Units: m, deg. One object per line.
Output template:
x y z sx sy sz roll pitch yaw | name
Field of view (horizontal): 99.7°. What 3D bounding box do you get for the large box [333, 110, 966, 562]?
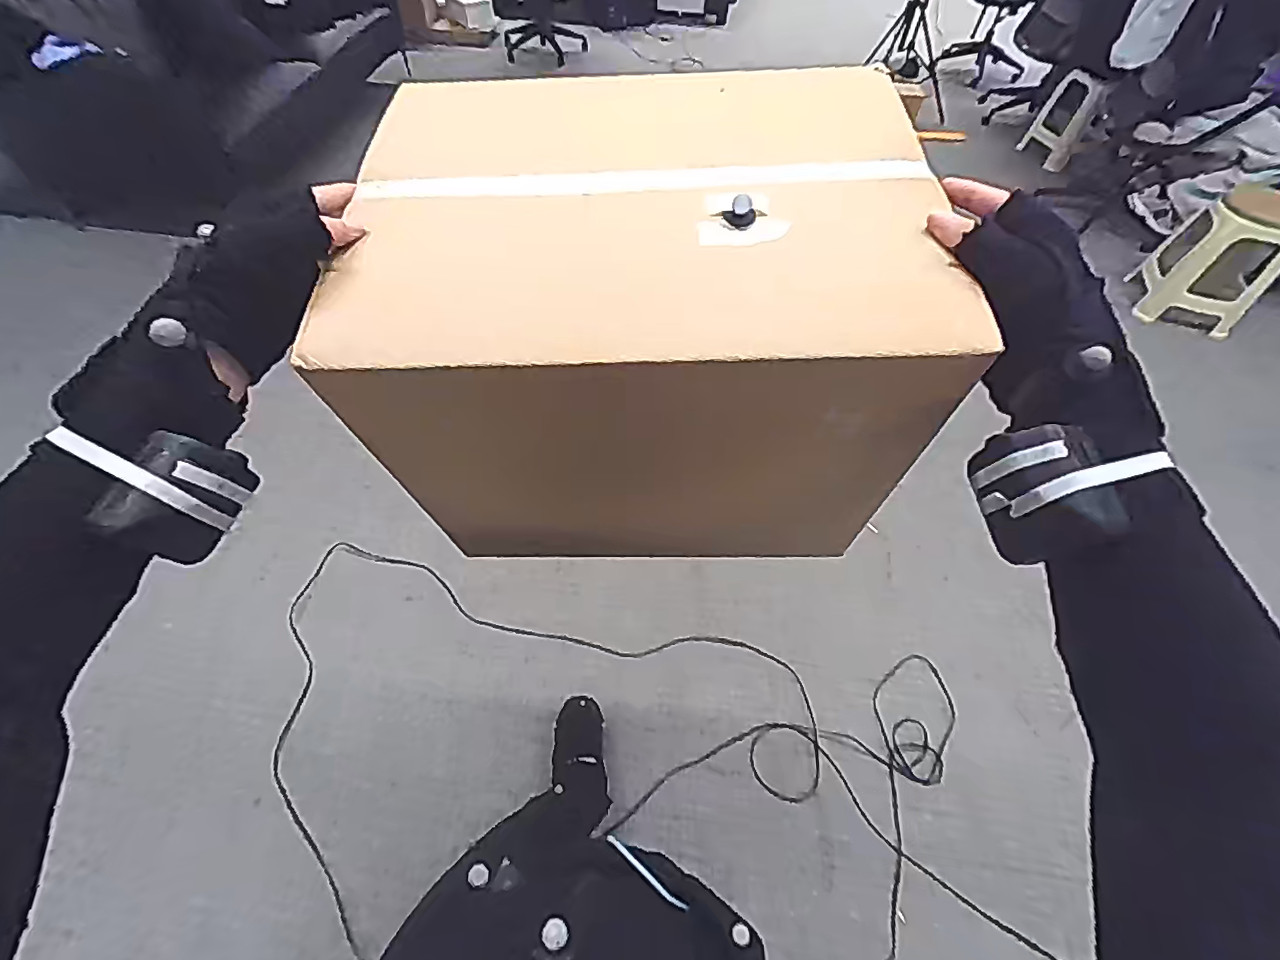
0.006 -0.120 0.537 0.408 0.320 0.320 0 60 2 | large box
